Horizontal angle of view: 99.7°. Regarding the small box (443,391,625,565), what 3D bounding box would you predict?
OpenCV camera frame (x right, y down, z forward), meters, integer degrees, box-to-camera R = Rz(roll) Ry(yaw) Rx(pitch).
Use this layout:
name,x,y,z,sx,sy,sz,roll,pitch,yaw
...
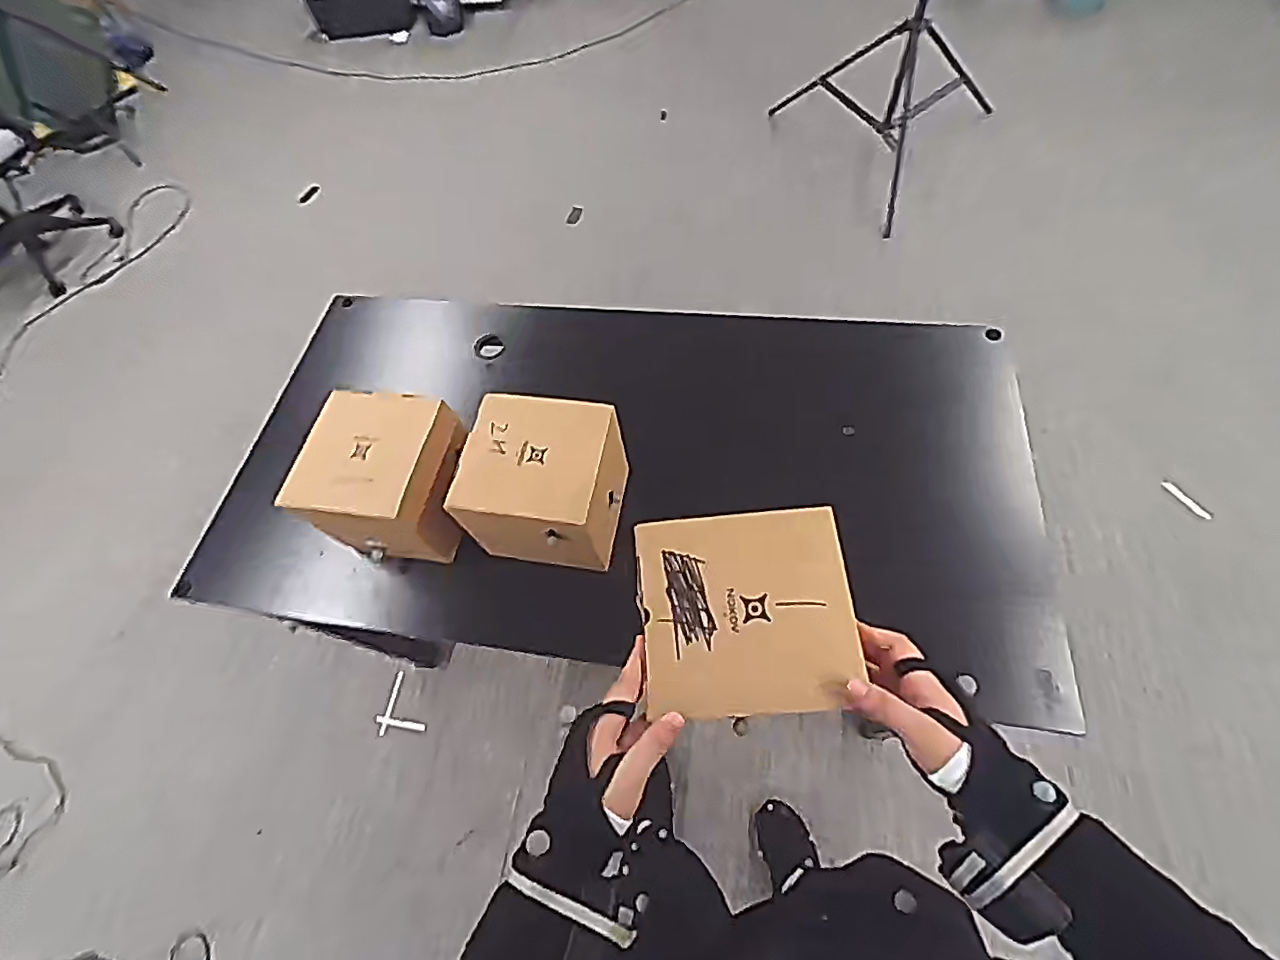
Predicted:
name,x,y,z,sx,sy,sz,roll,pitch,yaw
small box,-0.123,0.004,0.716,0.179,0.176,0.168,7,63,10

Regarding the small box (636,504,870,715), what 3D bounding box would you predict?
name,x,y,z,sx,sy,sz,roll,pitch,yaw
small box,0.094,0.133,0.516,0.179,0.176,0.168,-4,66,4

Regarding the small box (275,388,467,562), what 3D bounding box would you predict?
name,x,y,z,sx,sy,sz,roll,pitch,yaw
small box,-0.341,-0.004,0.746,0.168,0.176,0.179,5,64,10
